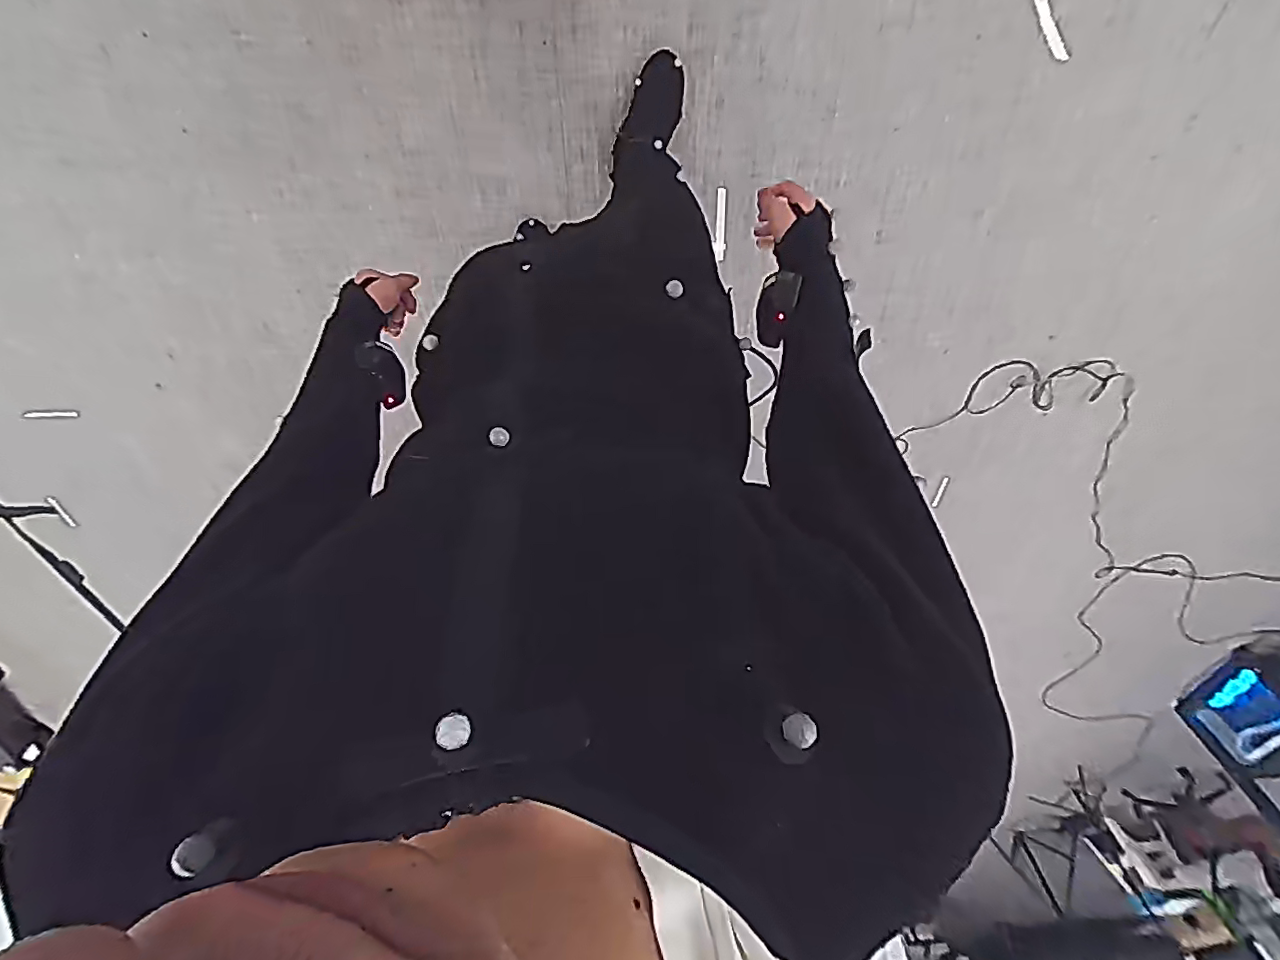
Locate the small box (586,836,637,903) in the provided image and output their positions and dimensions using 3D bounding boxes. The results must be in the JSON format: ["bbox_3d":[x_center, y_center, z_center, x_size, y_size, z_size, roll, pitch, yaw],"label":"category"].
[{"bbox_3d":[-0.101,1.439,1.999,0.179,0.176,0.168,-3,130,1],"label":"small box"}]
